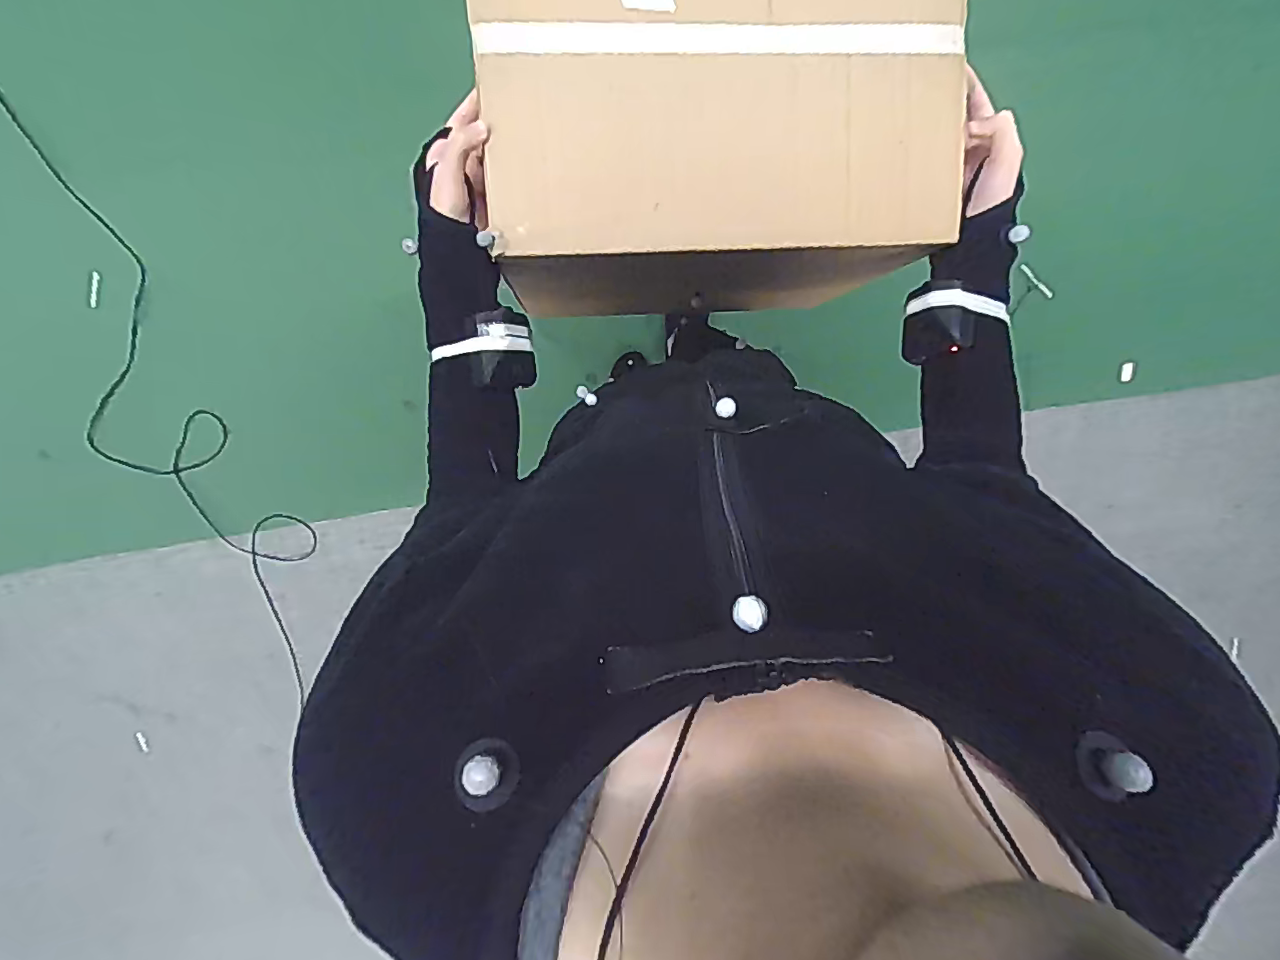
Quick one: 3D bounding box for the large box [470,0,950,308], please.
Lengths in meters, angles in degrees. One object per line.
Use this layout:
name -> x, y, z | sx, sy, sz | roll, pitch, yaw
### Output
large box -> 0.054, -0.378, 0.593 | 0.408, 0.320, 0.320 | -4, 98, -4
